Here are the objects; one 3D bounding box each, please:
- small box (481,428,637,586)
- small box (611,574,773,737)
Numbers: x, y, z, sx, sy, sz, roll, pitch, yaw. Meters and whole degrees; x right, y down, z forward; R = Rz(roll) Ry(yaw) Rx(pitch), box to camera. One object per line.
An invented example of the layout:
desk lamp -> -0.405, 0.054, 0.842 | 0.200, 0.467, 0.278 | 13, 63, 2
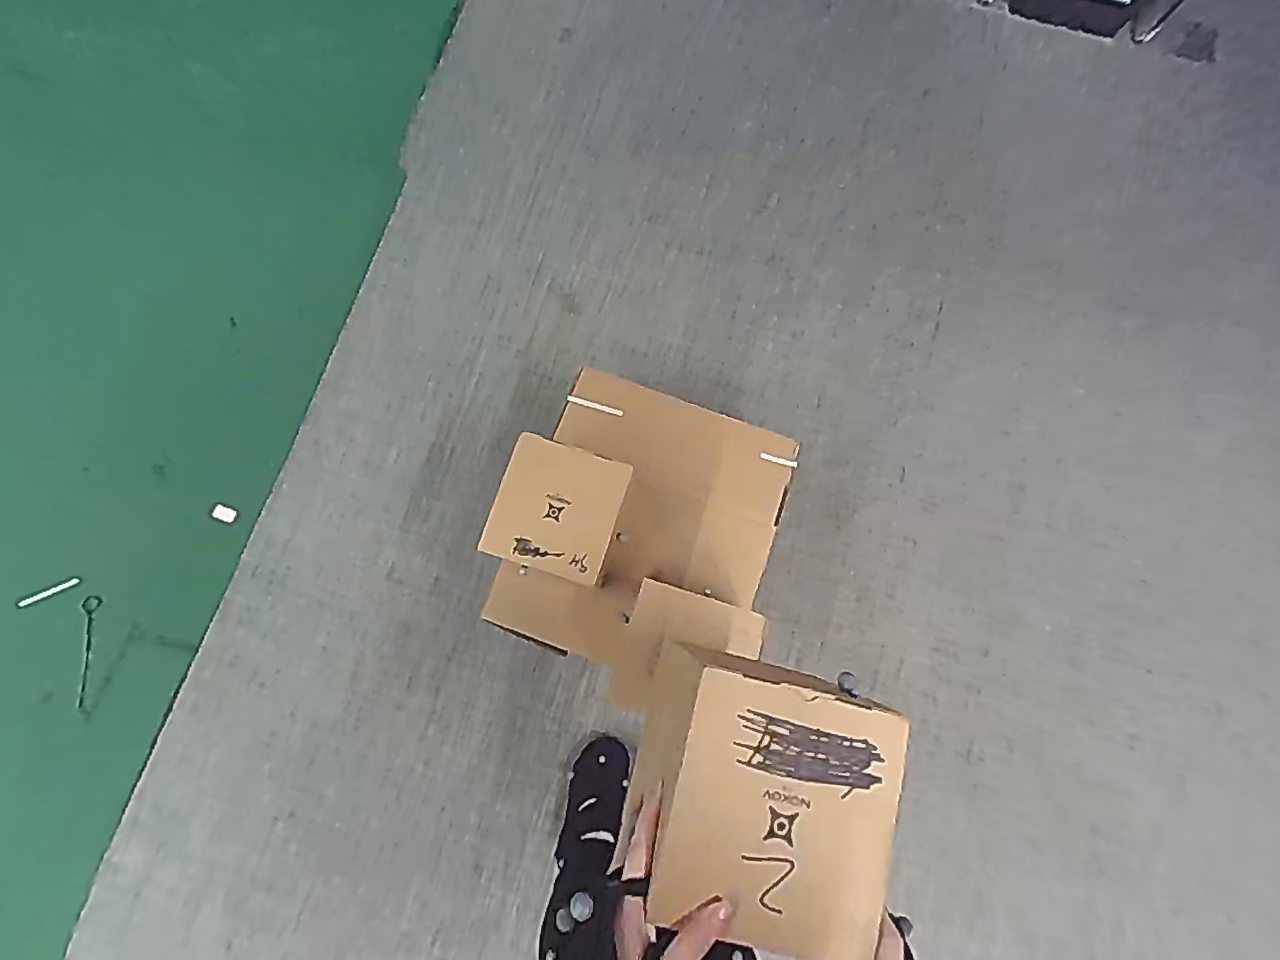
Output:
small box -> -0.110, 0.049, 0.799 | 0.168, 0.176, 0.179 | 18, 78, 2
small box -> 0.065, 0.236, 0.769 | 0.179, 0.176, 0.168 | 17, 79, 1
